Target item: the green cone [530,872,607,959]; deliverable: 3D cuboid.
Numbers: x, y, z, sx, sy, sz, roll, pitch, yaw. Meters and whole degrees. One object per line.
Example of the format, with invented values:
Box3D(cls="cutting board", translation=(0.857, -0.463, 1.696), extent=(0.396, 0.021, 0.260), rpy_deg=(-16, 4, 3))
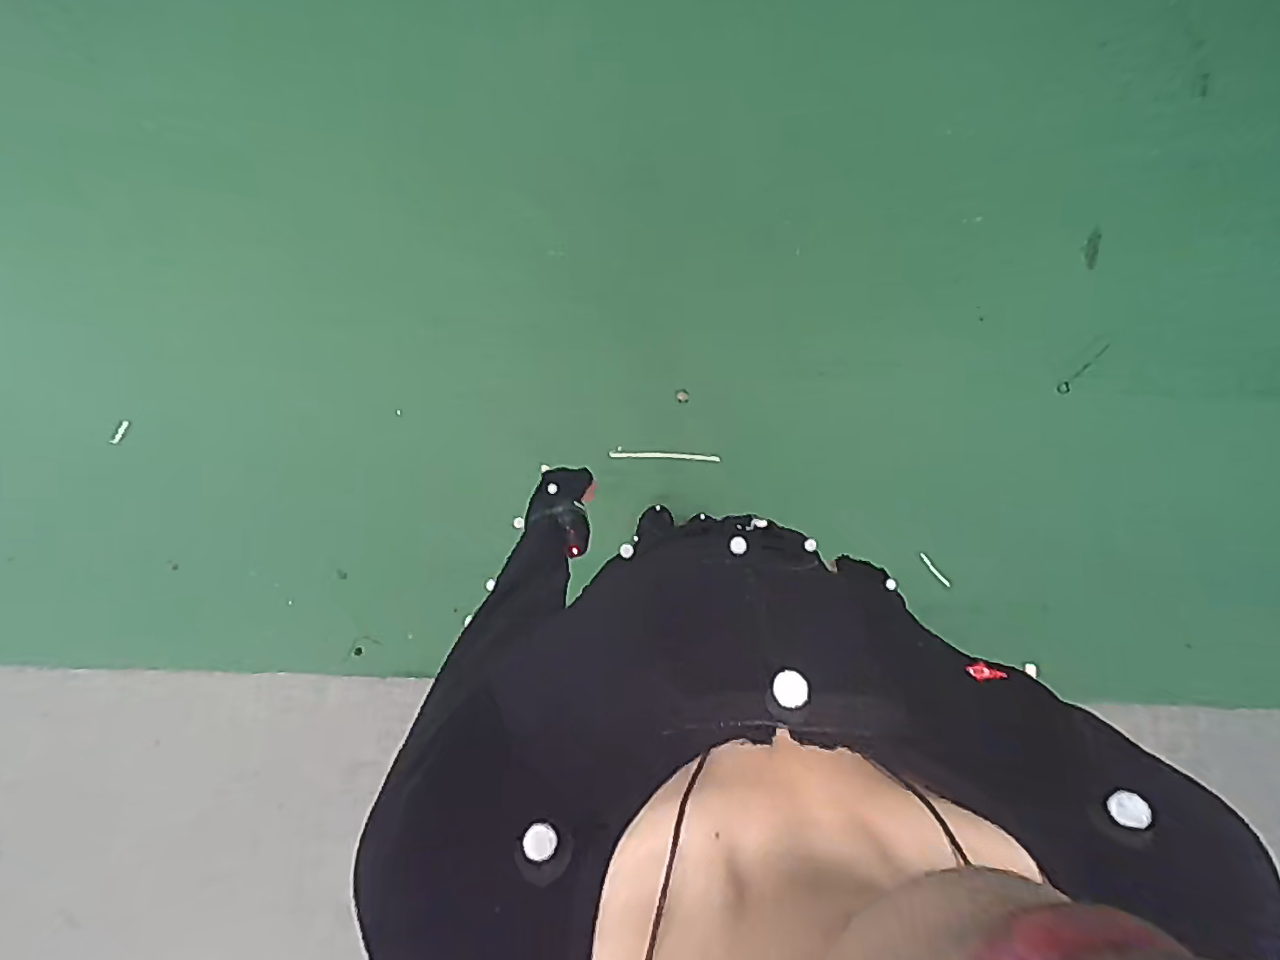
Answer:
Box3D(cls="green cone", translation=(-0.198, 1.152, 1.280), extent=(0.200, 0.368, 0.202), rpy_deg=(4, 87, 2))
